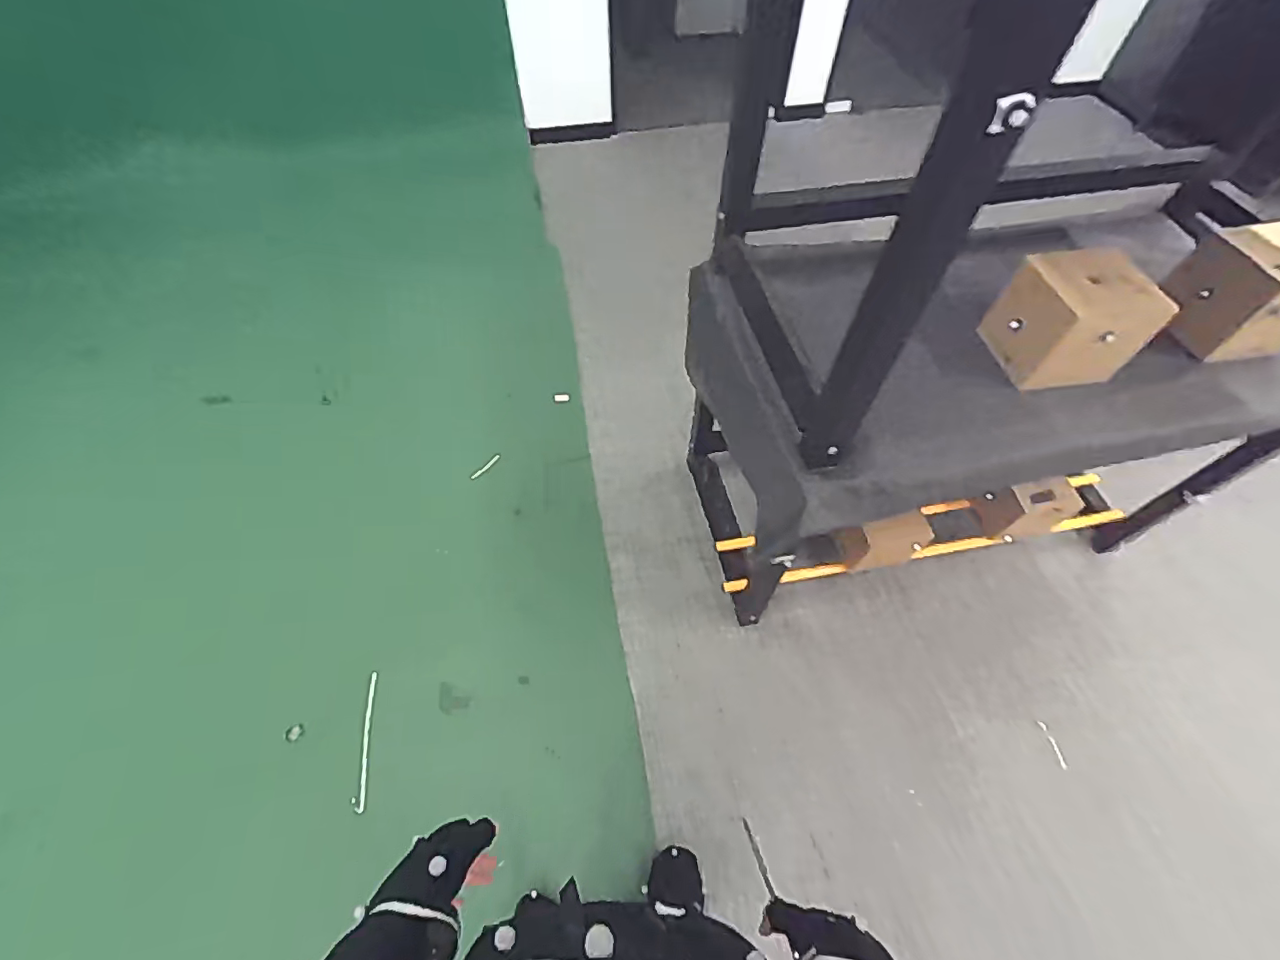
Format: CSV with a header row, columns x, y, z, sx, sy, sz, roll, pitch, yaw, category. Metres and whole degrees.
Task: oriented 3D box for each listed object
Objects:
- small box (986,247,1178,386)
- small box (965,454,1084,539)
x,y,z,sx,sy,sz,roll,pitch,yaw,category
0.755,-0.283,0.956,0.179,0.176,0.168,-7,57,-5,small box
1.042,0.052,1.483,0.168,0.176,0.179,-6,57,-5,small box
